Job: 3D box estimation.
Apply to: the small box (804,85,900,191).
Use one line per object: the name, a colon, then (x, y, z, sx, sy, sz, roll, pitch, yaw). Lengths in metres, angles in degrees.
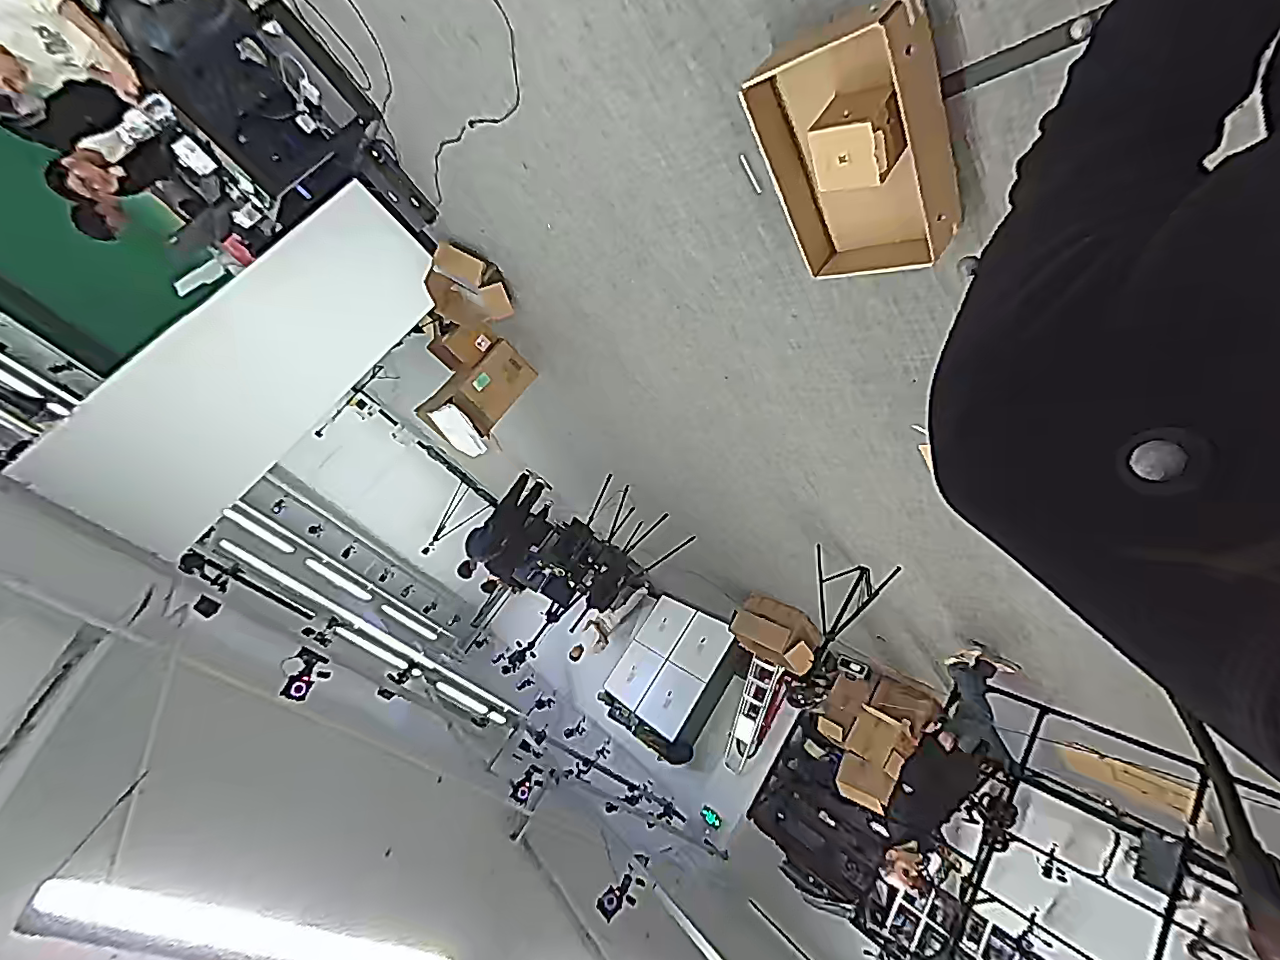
small box: (0.558, -0.885, 1.404, 0.179, 0.176, 0.168, 20, 157, 40)
